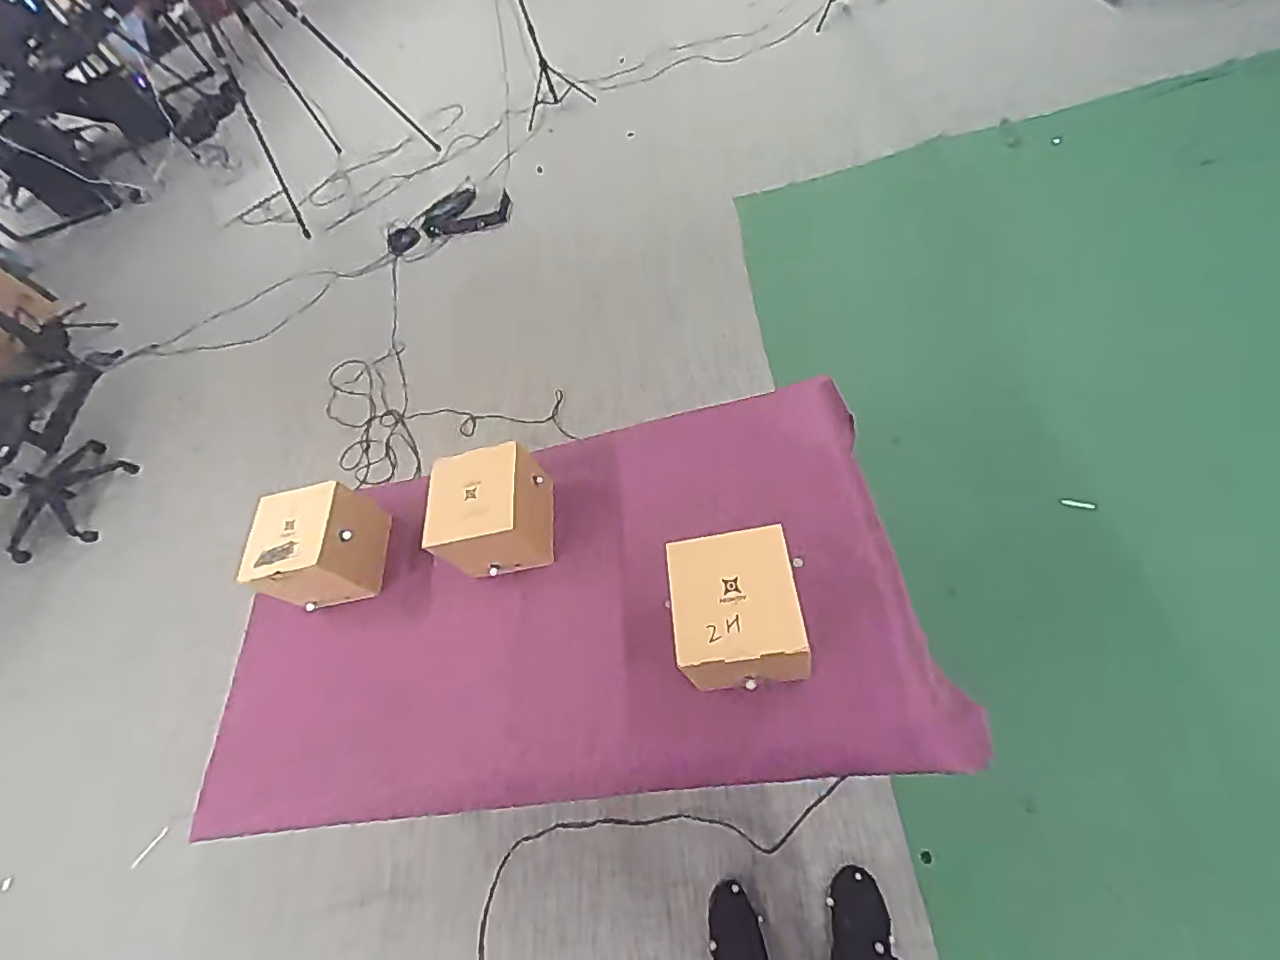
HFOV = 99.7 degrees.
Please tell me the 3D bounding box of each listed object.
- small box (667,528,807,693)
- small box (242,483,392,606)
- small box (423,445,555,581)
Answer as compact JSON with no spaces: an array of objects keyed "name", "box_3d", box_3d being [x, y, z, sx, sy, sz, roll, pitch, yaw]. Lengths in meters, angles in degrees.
[{"name":"small box","box_3d":[0.140,0.193,0.778,0.168,0.176,0.179,-11,57,12]},{"name":"small box","box_3d":[-0.609,0.134,1.045,0.168,0.176,0.179,-12,57,9]},{"name":"small box","box_3d":[-0.263,0.065,0.983,0.168,0.176,0.179,-12,58,11]}]
